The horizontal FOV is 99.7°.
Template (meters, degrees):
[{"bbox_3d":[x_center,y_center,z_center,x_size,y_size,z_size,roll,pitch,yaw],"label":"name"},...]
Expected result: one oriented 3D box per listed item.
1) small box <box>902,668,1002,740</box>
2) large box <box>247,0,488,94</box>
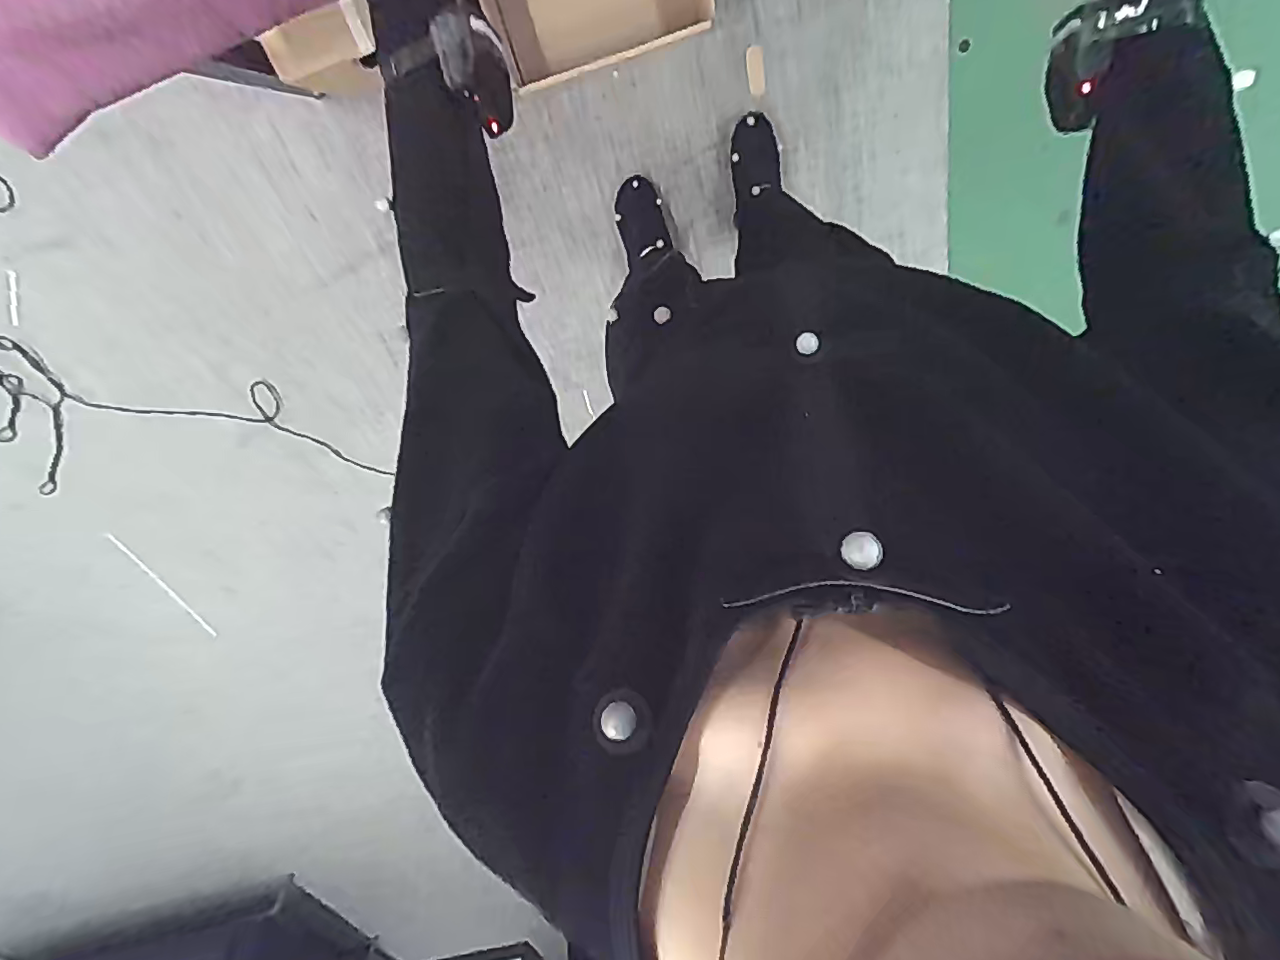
[{"bbox_3d":[0.960,0.718,1.676,0.179,0.176,0.168,36,112,-21],"label":"small box"},{"bbox_3d":[-0.495,-0.930,0.889,0.320,0.320,0.408,-16,122,6],"label":"large box"}]
